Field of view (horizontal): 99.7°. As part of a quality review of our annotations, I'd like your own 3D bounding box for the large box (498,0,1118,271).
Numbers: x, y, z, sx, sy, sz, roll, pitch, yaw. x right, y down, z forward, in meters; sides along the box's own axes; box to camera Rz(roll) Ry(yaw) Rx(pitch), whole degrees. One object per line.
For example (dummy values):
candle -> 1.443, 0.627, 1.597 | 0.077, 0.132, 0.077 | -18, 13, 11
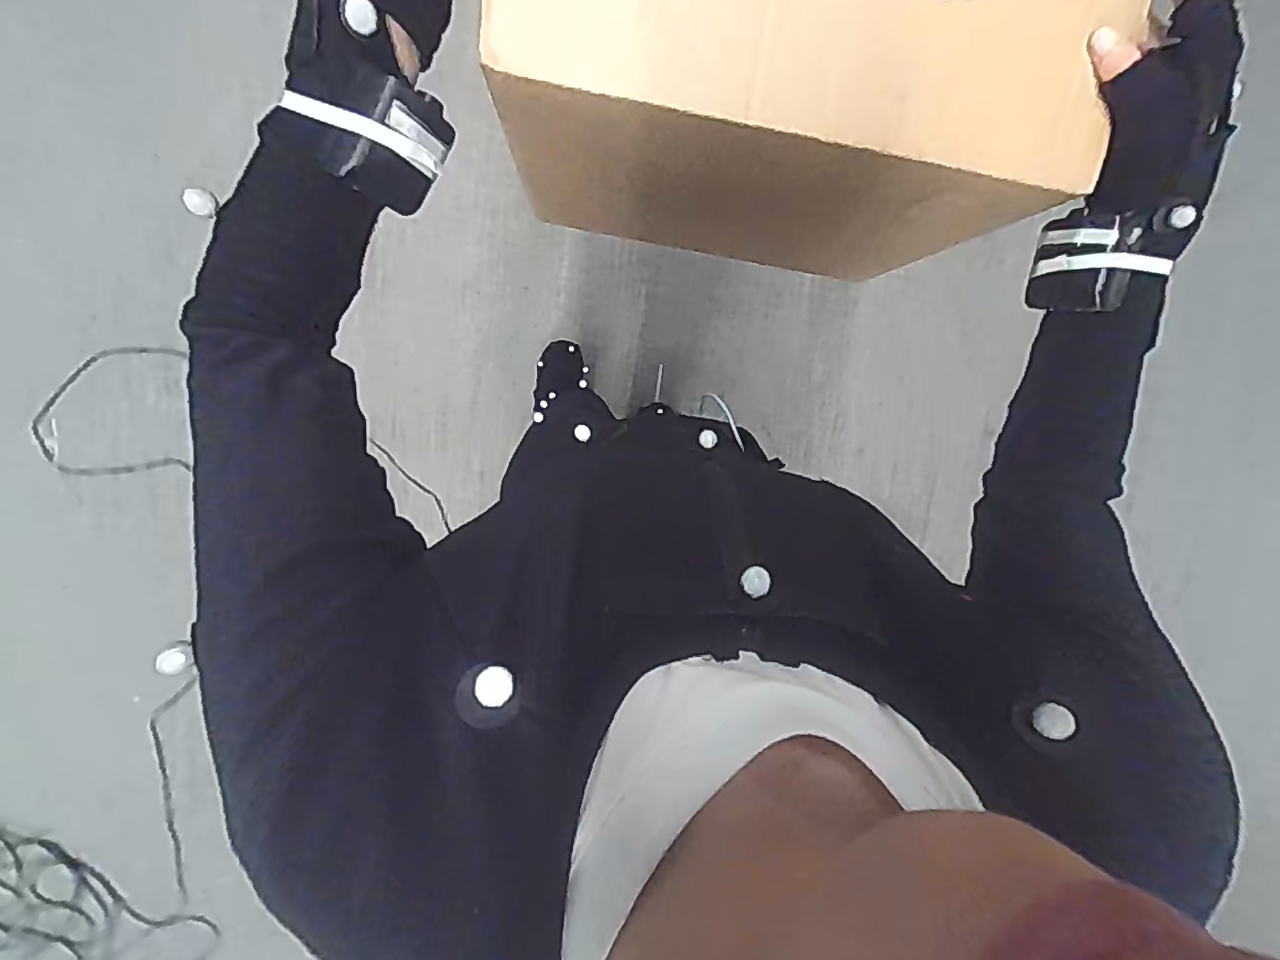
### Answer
large box -> 0.108, -0.400, 0.476 | 0.408, 0.320, 0.320 | 7, 99, -7
